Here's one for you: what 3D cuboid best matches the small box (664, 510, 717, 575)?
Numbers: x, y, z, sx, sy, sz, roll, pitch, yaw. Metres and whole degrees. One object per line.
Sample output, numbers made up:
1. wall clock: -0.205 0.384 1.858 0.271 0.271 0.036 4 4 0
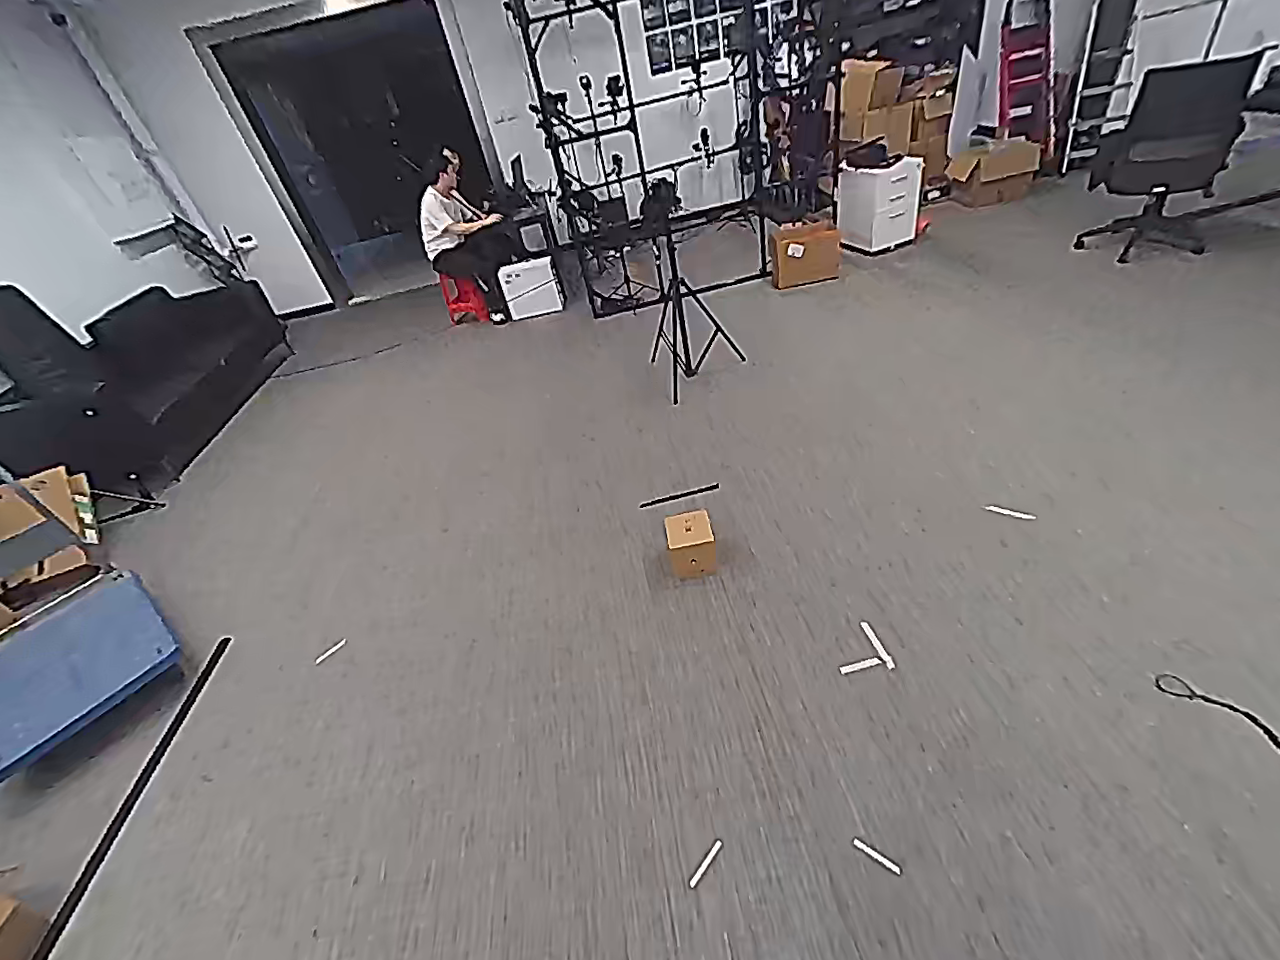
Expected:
1. small box: 0.193 0.244 2.050 0.168 0.176 0.179 -11 36 3
